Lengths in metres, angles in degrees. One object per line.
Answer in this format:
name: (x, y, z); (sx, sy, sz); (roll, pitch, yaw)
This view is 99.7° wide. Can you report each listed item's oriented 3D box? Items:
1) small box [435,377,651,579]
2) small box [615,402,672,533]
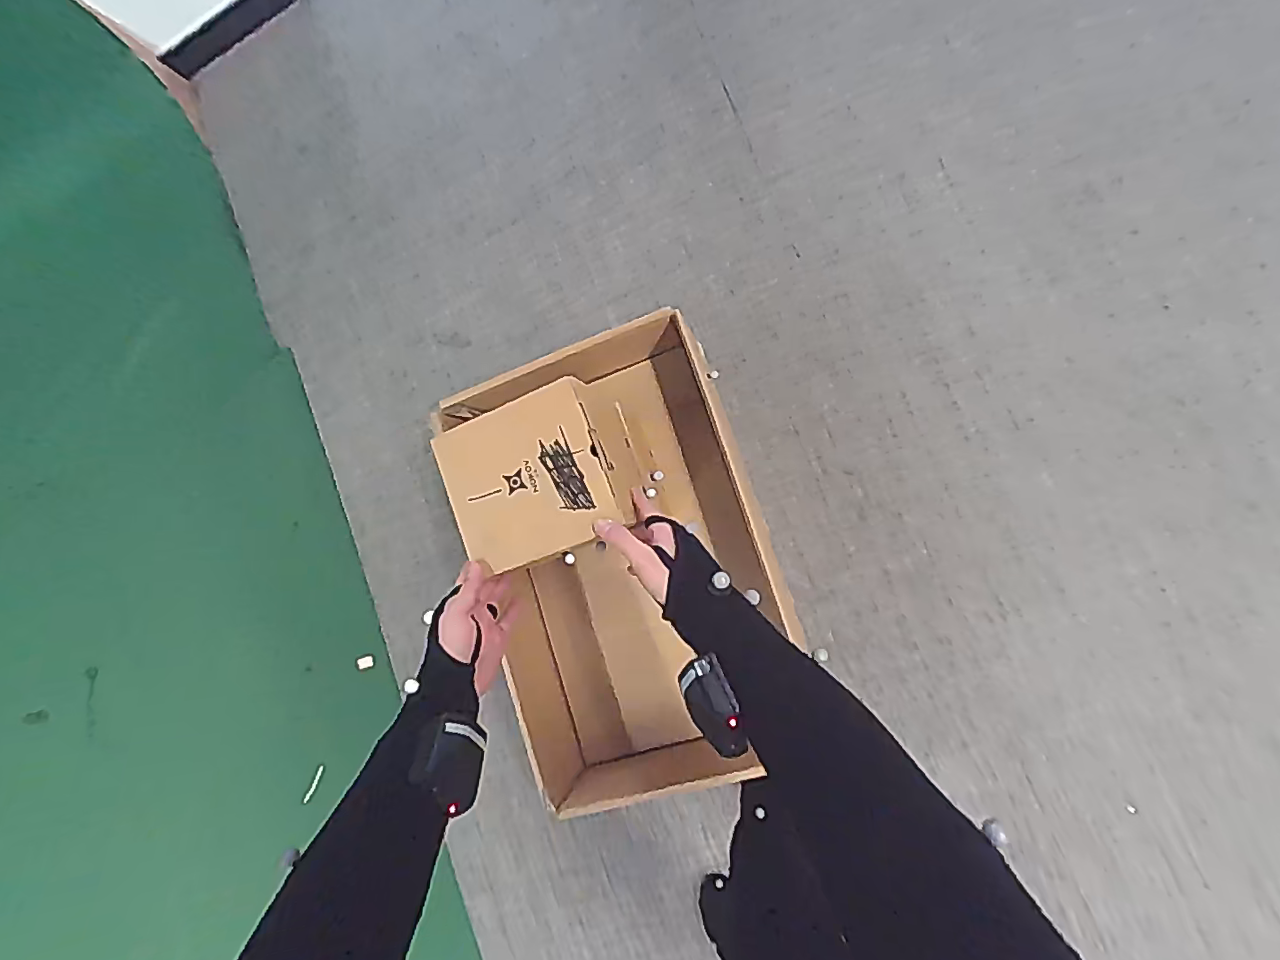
small box: (-0.097, 0.000, 0.631); (0.179, 0.176, 0.168); (-21, 84, 13)
small box: (-0.060, 0.000, 0.791); (0.179, 0.176, 0.168); (-19, 84, 12)
